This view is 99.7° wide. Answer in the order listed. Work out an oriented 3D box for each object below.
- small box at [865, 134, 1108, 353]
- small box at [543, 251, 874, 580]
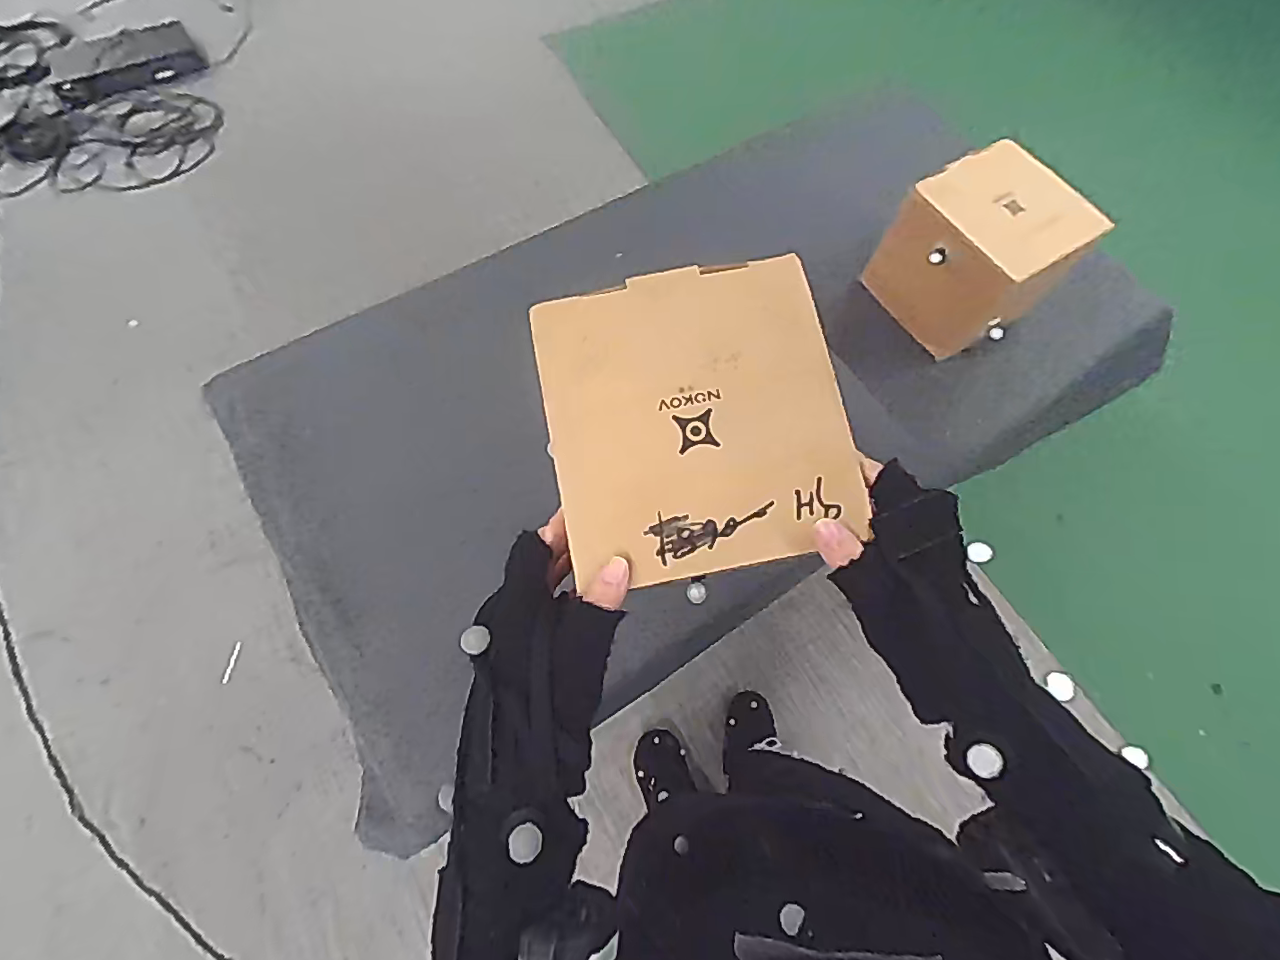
[{"bbox_3d":[0.441,-0.306,0.723,0.168,0.176,0.179,-31,74,-11],"label":"small box"},{"bbox_3d":[0.037,-0.027,0.388,0.168,0.176,0.179,-11,80,1],"label":"small box"}]
